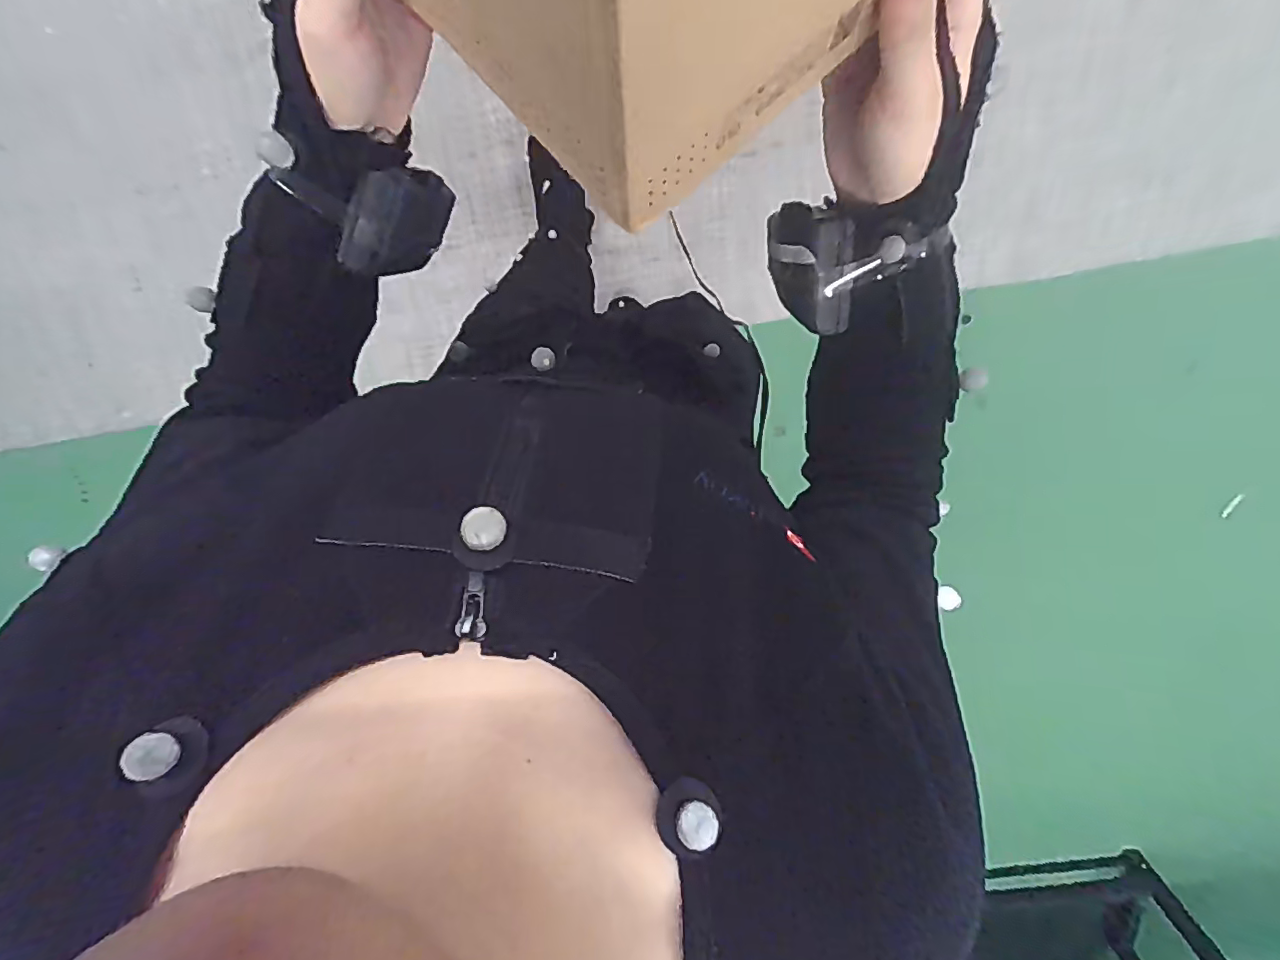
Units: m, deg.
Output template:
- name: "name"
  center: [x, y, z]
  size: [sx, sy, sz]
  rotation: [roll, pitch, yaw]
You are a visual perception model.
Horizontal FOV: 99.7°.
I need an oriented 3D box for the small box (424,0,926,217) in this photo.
- name: "small box"
  center: [0.006, -0.219, 0.147]
  size: [0.168, 0.176, 0.179]
  rotation: [-43, 85, -2]
